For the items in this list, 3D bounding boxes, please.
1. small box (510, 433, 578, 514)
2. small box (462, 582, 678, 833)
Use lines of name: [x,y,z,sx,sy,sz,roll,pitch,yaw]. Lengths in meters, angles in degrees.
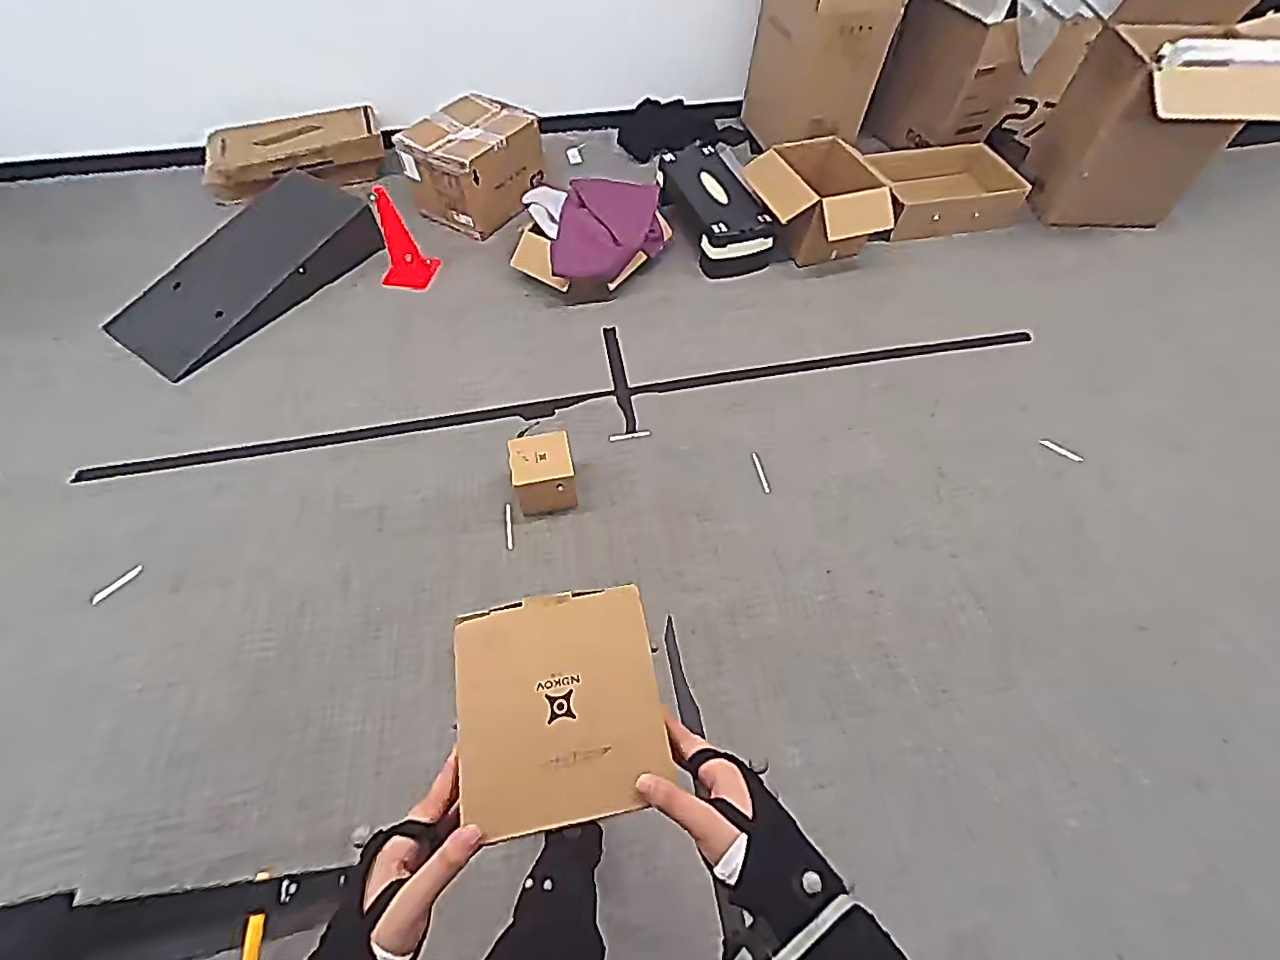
small box: [-0.284,-0.016,1.624,0.179,0.176,0.168,-10,58,-7]
small box: [-0.068,0.217,0.521,0.168,0.176,0.179,-9,63,-7]
